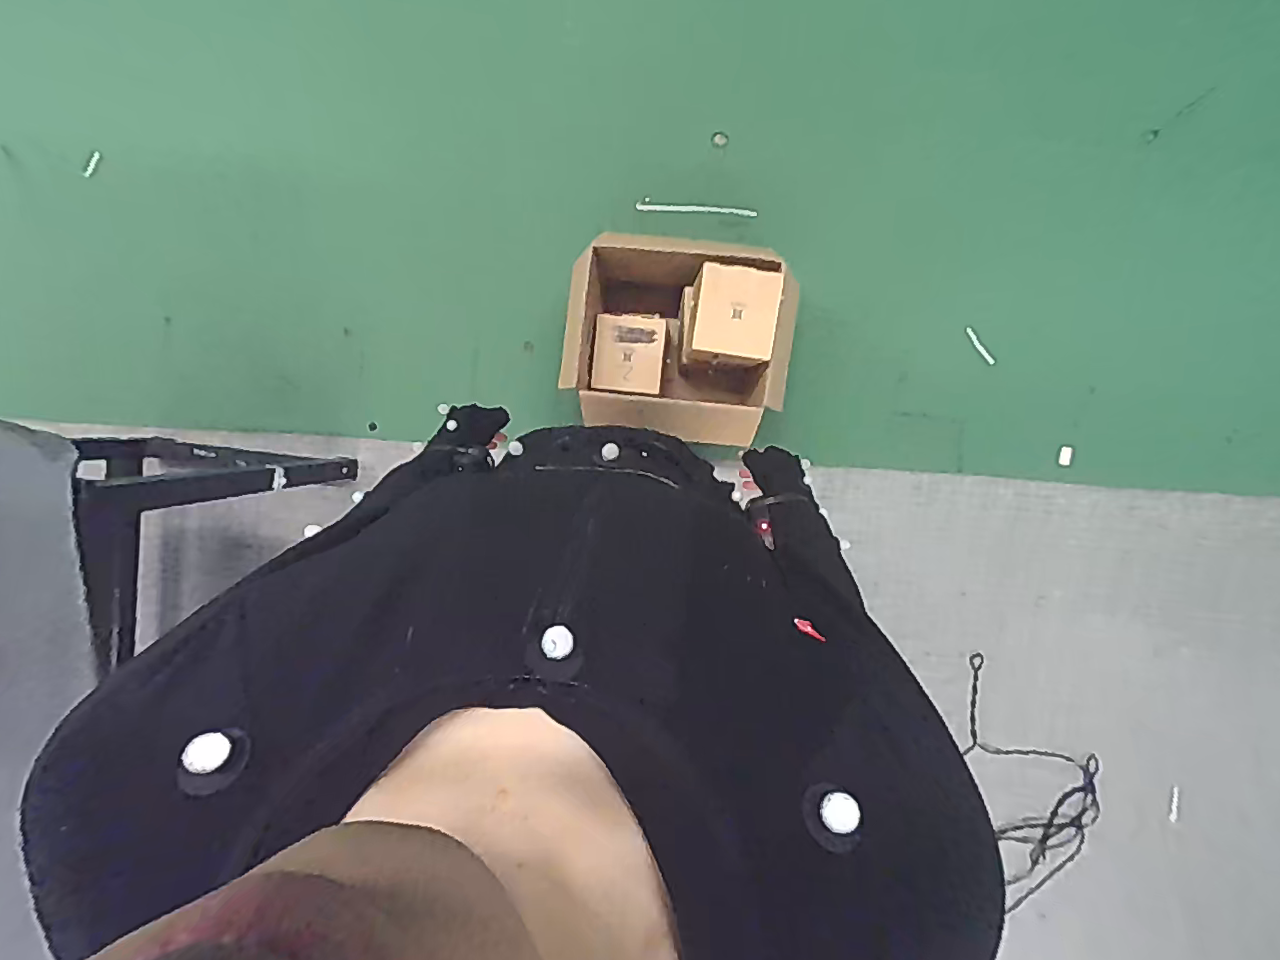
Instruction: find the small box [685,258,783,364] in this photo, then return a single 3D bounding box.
[{"bbox_3d":[0.192,-0.352,1.160,0.168,0.176,0.179,8,95,-1],"label":"small box"}]
